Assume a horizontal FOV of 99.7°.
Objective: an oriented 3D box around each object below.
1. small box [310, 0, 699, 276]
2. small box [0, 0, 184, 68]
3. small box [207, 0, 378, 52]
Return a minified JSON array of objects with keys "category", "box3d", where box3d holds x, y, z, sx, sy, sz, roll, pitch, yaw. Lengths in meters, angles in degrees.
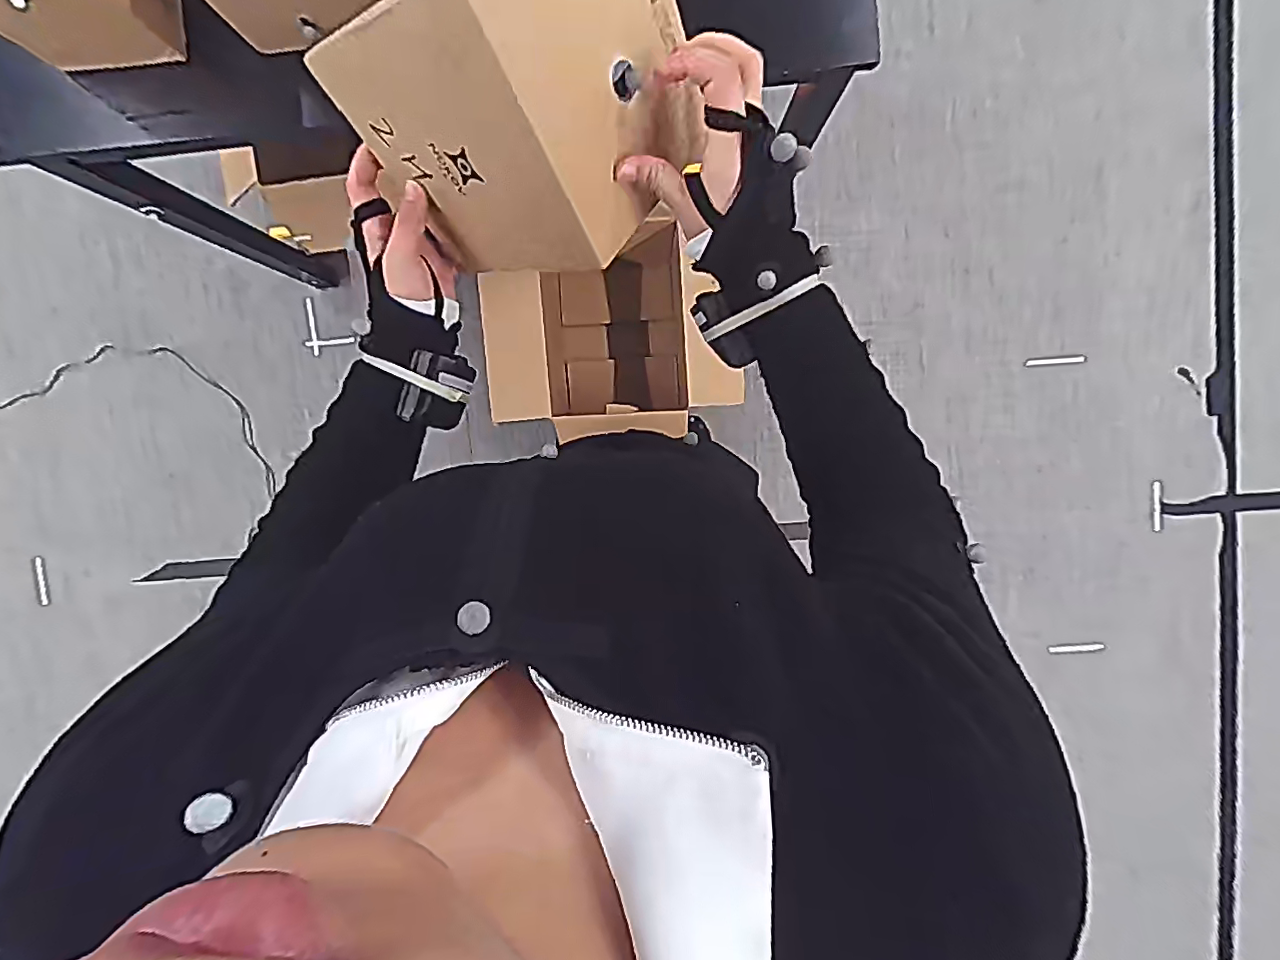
[{"category":"small box","box3d":[-0.076,-0.268,0.384,0.179,0.168,0.176,17,63,36]},{"category":"small box","box3d":[-0.686,-0.615,0.622,0.179,0.176,0.168,-4,95,0]},{"category":"small box","box3d":[-0.424,-0.639,0.619,0.179,0.176,0.168,-7,94,0]}]
